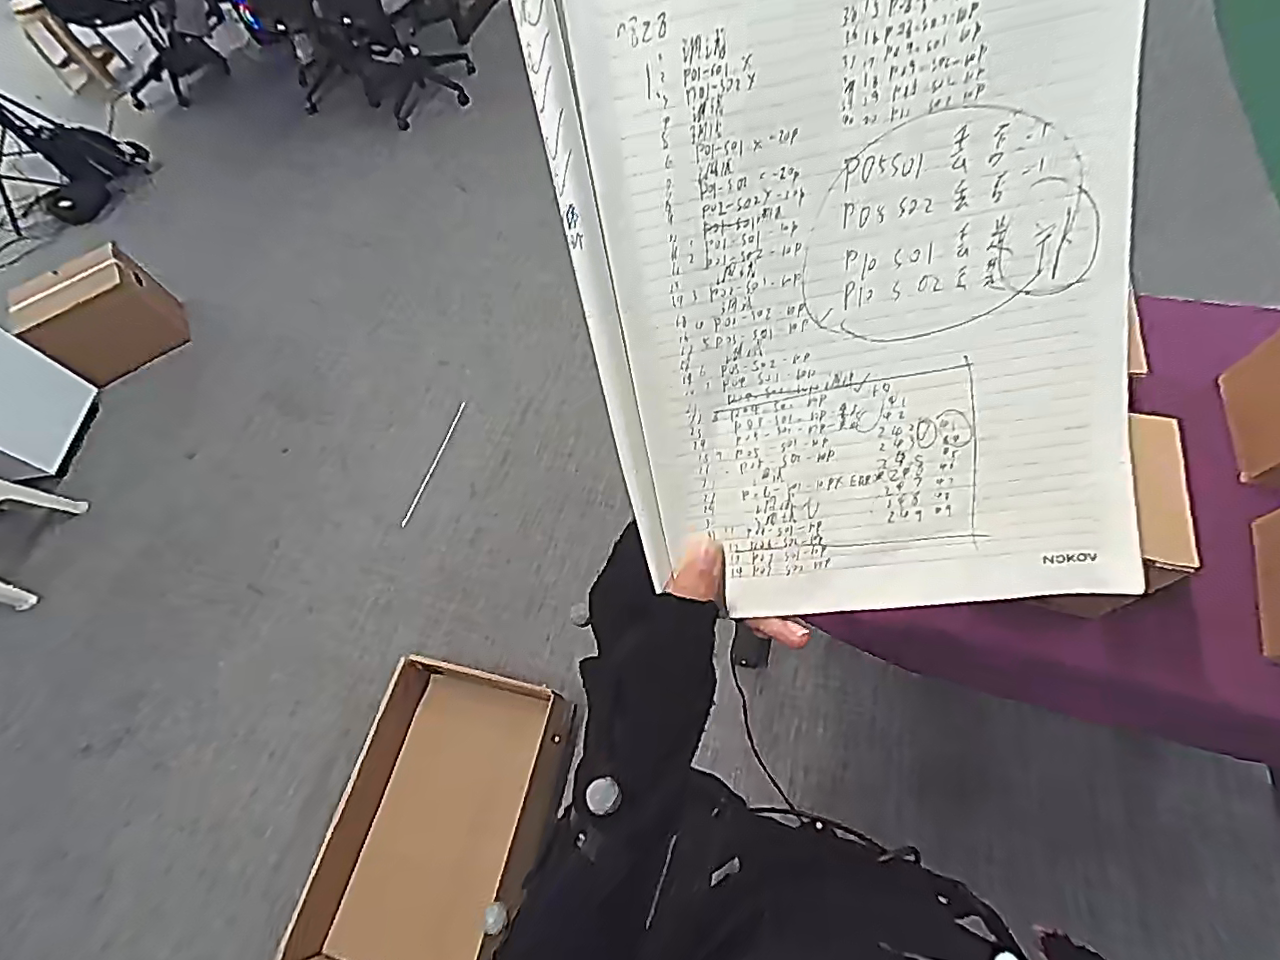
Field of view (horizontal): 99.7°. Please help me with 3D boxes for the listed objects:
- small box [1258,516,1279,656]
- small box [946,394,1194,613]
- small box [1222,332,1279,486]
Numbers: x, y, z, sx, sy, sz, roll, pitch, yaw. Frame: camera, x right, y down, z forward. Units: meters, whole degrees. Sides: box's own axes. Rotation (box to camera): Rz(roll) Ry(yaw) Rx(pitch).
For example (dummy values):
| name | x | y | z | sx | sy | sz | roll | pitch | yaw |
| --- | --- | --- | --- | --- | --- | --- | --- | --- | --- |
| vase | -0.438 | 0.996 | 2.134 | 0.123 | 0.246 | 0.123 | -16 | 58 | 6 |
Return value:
| name | x | y | z | sx | sy | sz | roll | pitch | yaw |
| --- | --- | --- | --- | --- | --- | --- | --- | --- | --- |
| small box | 0.771 | 0.104 | 0.526 | 0.168 | 0.176 | 0.179 | 16 | 65 | 18 |
| small box | 0.469 | 0.033 | 0.617 | 0.168 | 0.176 | 0.179 | 14 | 64 | 17 |
| small box | 0.844 | -0.088 | 0.624 | 0.168 | 0.176 | 0.179 | 11 | 63 | 15 |
